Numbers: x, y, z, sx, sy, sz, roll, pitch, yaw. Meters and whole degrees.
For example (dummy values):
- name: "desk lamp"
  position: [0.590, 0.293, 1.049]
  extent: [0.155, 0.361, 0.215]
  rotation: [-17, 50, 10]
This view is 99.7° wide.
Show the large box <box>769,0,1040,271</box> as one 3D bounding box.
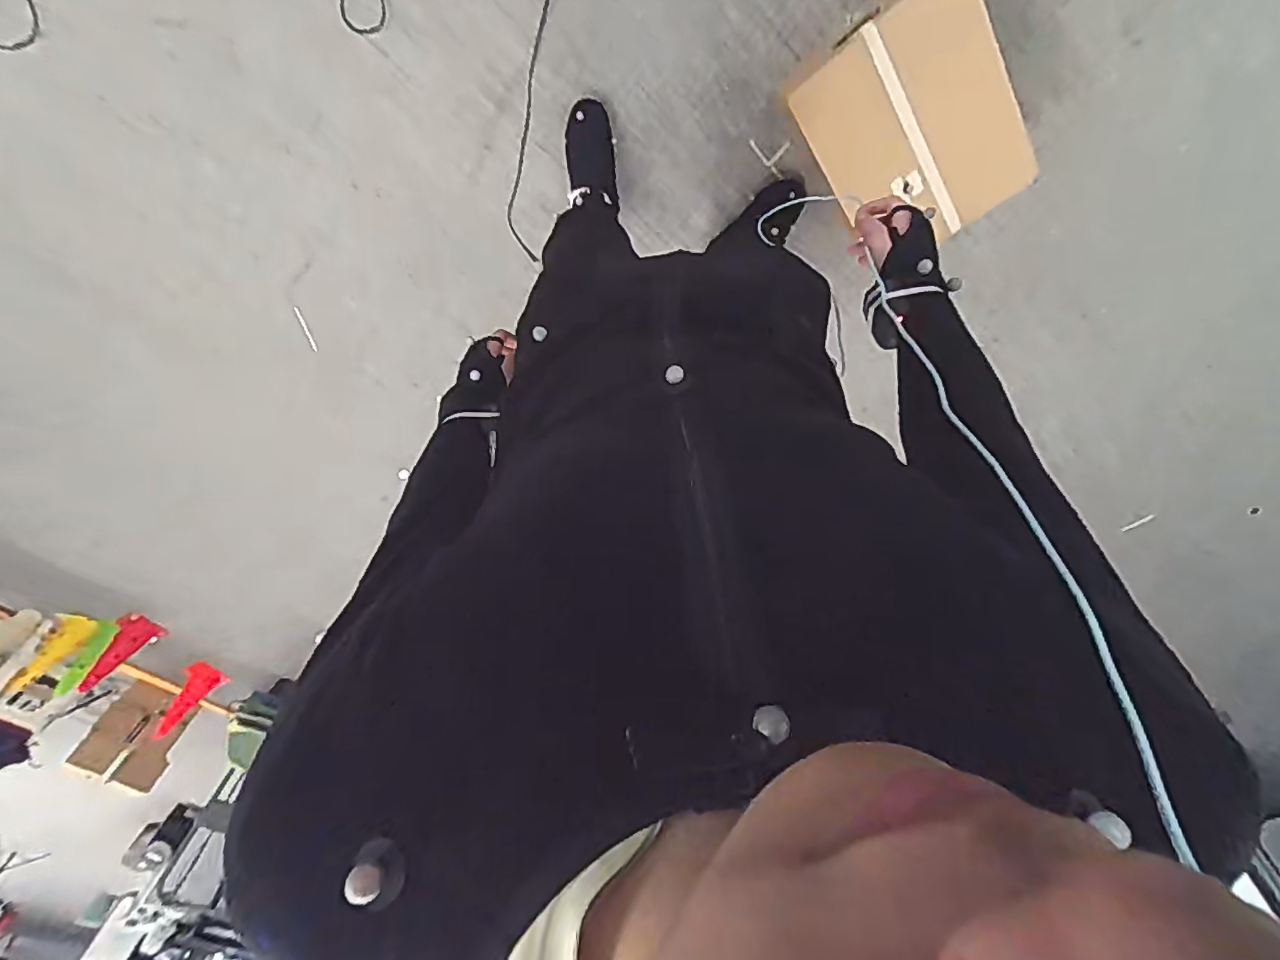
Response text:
- name: "large box"
  position: [0.513, -0.724, 1.103]
  extent: [0.320, 0.320, 0.408]
  rotation: [-30, 119, 26]
